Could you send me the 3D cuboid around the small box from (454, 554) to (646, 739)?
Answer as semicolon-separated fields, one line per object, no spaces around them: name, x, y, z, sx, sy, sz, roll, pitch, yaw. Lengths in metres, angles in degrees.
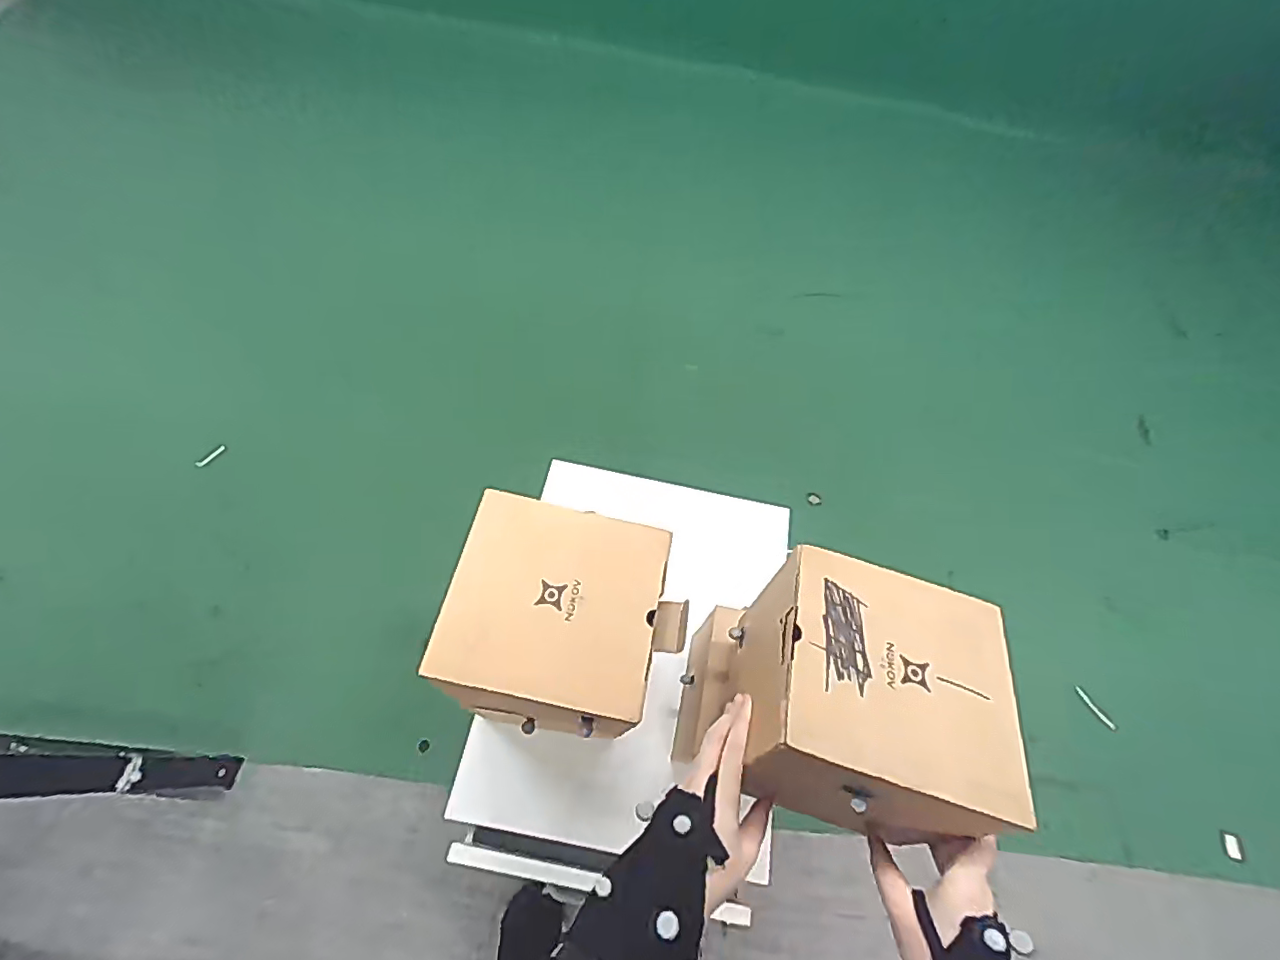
small box;-0.099;0.208;0.652;0.179;0.176;0.168;11;61;-1

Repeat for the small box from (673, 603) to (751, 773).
small box;0.145;0.266;0.647;0.179;0.176;0.168;14;62;1

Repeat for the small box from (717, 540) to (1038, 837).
small box;0.178;0.182;0.457;0.179;0.176;0.168;19;52;1
